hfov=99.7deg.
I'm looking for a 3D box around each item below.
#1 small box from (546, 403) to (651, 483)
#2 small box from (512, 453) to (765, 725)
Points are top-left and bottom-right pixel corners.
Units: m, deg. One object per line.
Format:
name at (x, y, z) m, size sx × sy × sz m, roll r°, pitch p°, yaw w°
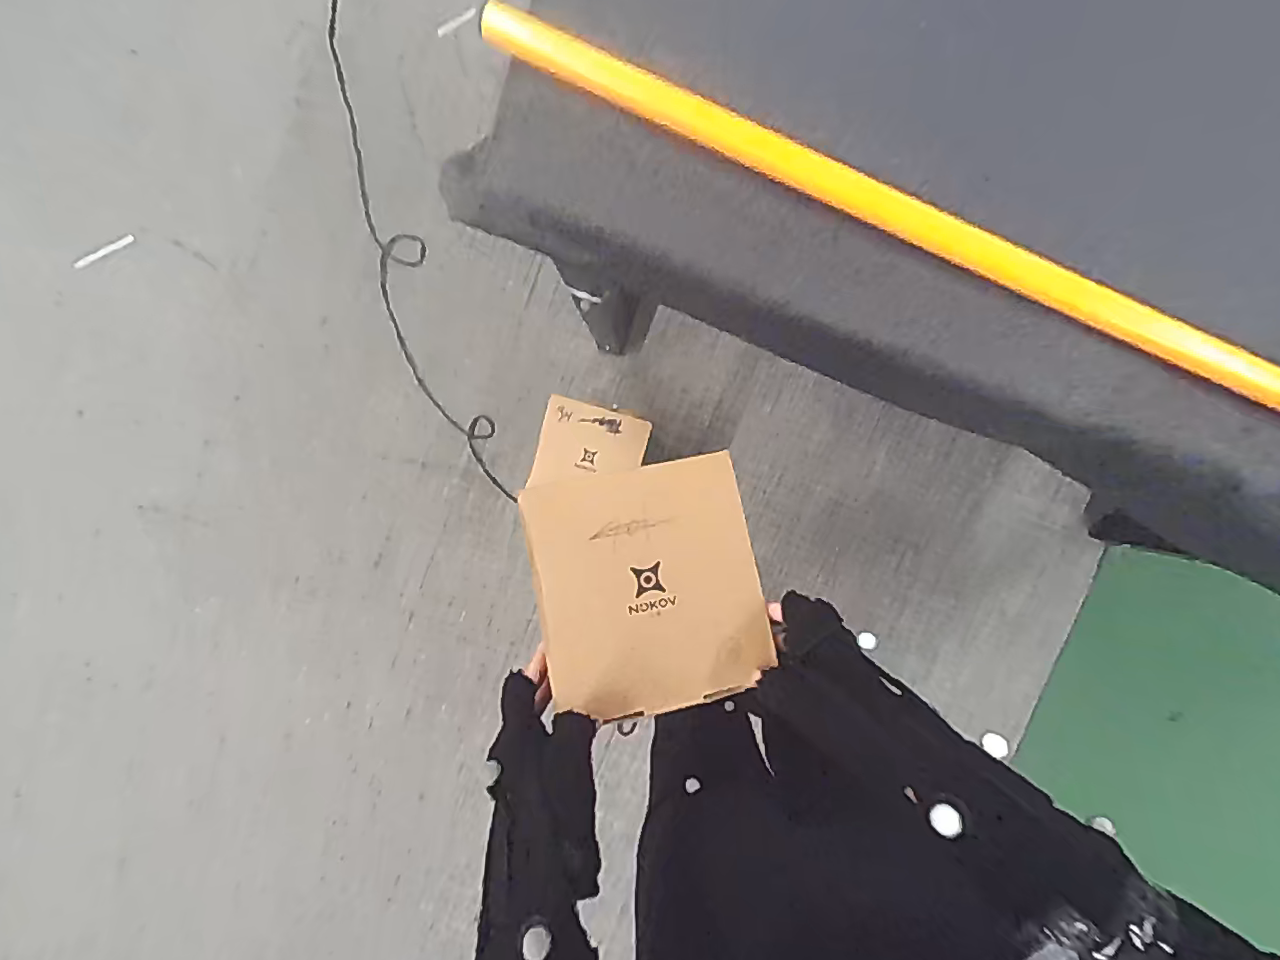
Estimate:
small box at (-0.080, -0.044, 1.080) m, size 0.168 × 0.176 × 0.179 m, roll 14°, pitch 94°, yaw 0°
small box at (-0.010, 0.088, 0.482) m, size 0.168 × 0.176 × 0.179 m, roll -11°, pitch 81°, yaw -9°
